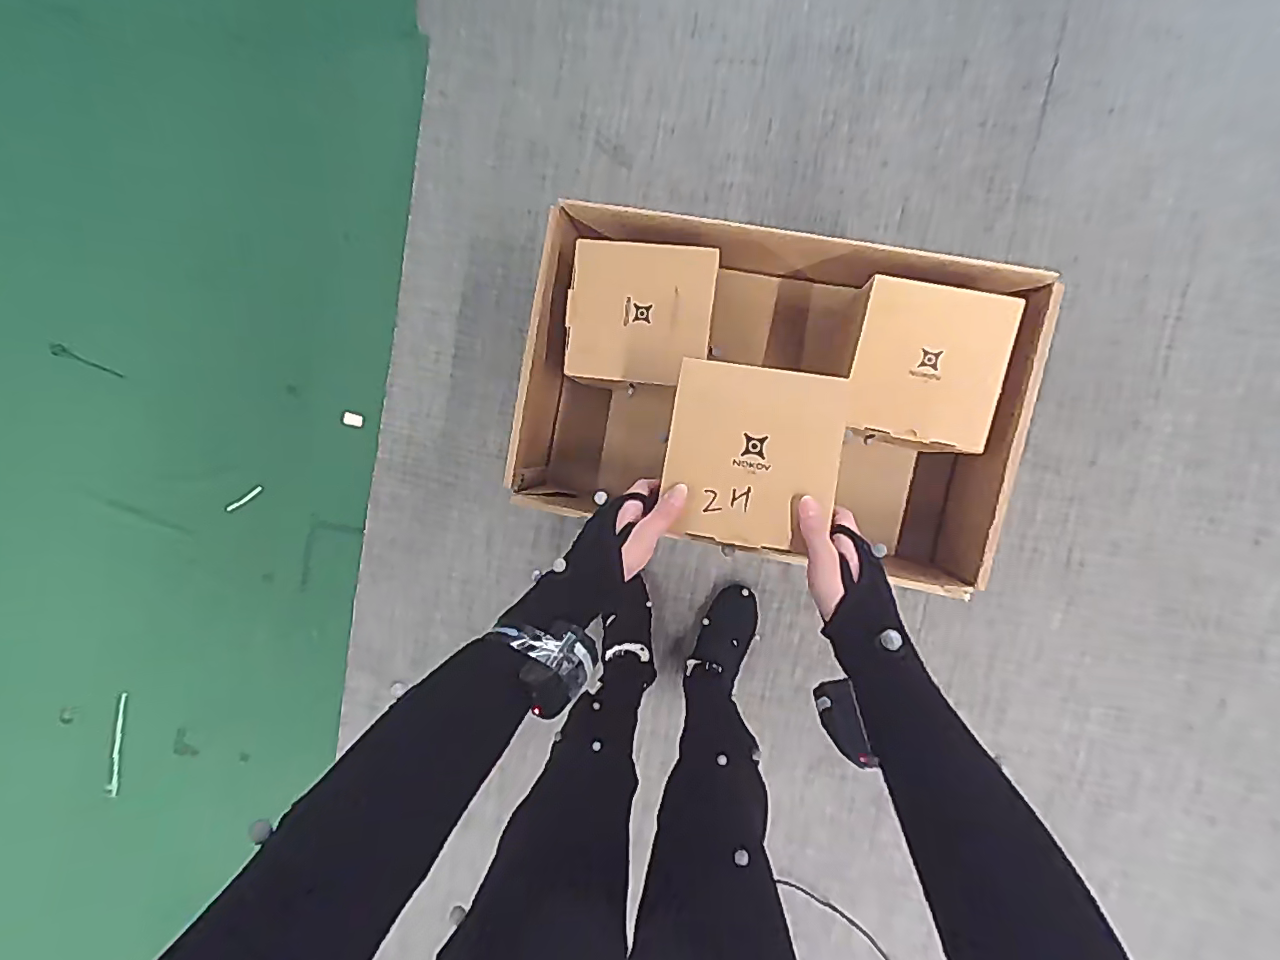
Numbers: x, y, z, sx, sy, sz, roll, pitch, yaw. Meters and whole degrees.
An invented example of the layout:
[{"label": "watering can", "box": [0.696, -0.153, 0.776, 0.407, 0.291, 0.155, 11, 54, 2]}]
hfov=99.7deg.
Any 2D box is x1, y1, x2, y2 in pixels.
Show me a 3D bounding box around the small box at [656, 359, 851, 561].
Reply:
[{"label": "small box", "box": [0.117, -0.015, 0.600, 0.168, 0.176, 0.179, 10, 86, 7]}]
